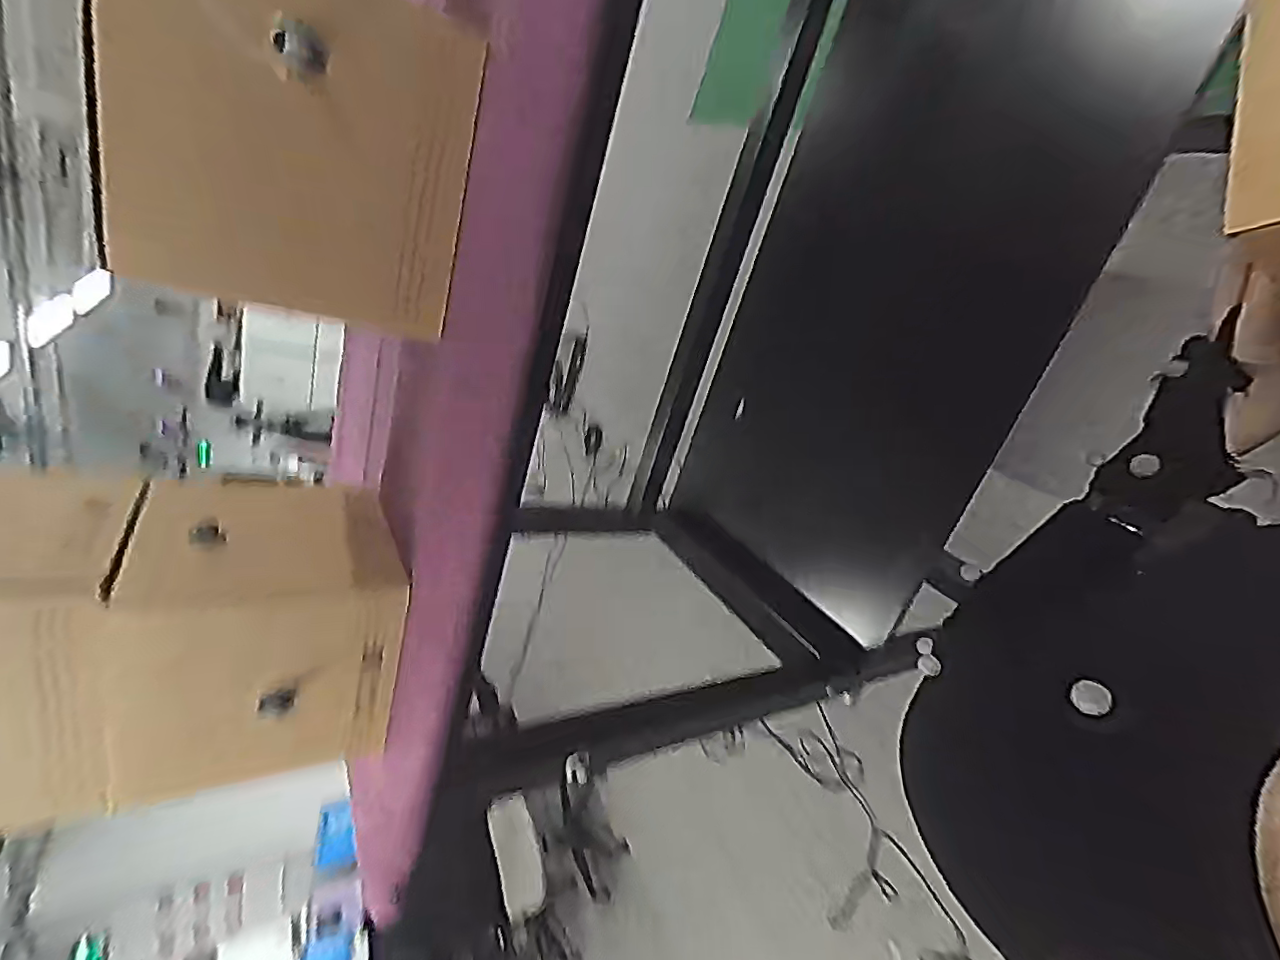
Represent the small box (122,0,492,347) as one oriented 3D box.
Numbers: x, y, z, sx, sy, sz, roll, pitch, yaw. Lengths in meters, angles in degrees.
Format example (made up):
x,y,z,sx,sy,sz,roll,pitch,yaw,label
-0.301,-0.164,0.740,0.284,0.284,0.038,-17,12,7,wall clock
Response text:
x,y,z,sx,sy,sz,roll,pitch,yaw,label
-0.208,-0.202,0.357,0.168,0.176,0.179,39,121,50,small box
